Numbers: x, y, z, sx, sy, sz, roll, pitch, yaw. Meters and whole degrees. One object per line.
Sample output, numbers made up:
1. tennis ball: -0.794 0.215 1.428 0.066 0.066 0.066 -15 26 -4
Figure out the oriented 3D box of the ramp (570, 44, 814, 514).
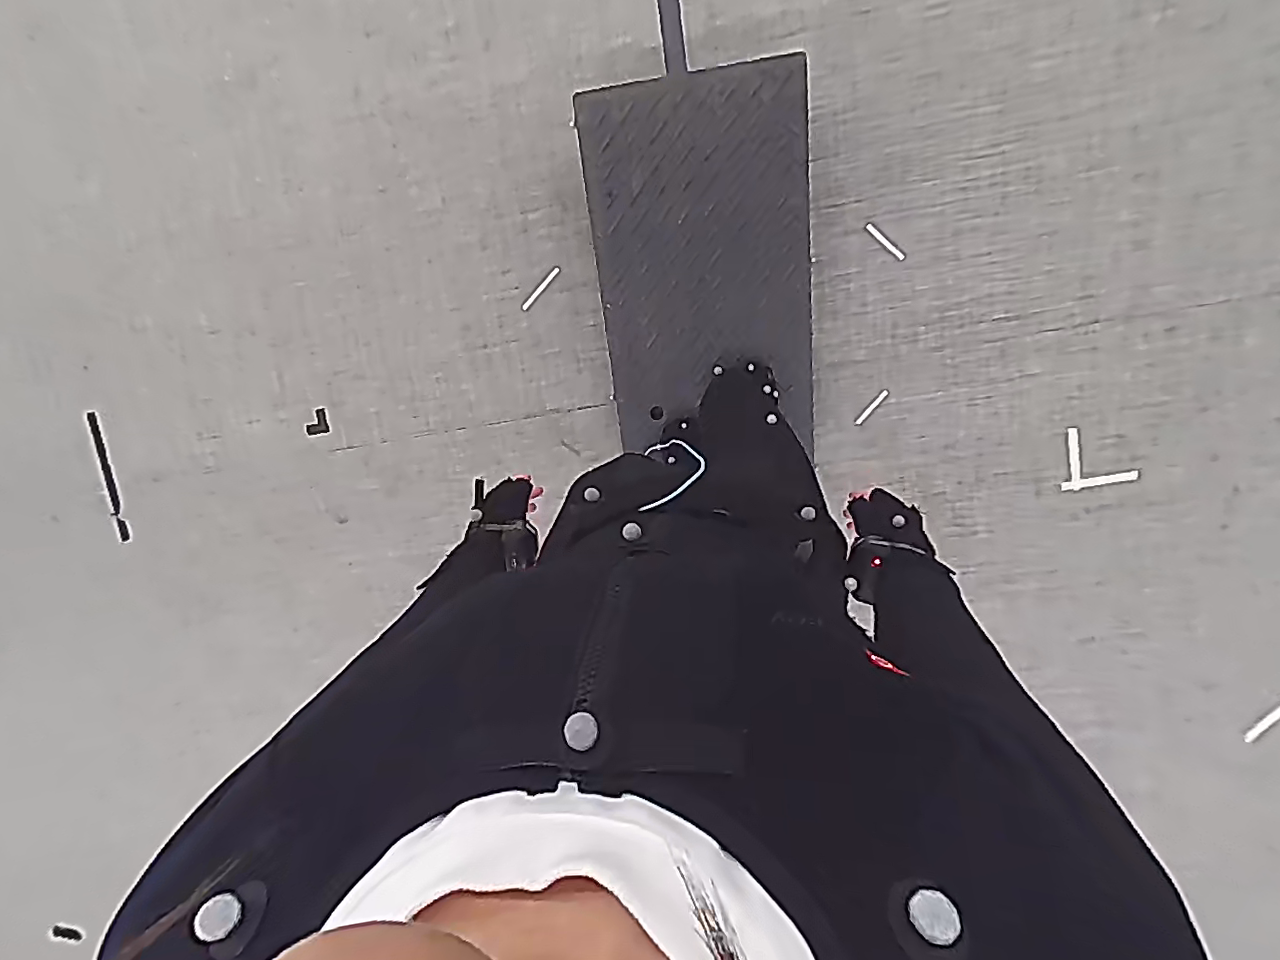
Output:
1. ramp: 0.156 -0.393 1.290 0.509 0.206 0.991 -7 100 7
